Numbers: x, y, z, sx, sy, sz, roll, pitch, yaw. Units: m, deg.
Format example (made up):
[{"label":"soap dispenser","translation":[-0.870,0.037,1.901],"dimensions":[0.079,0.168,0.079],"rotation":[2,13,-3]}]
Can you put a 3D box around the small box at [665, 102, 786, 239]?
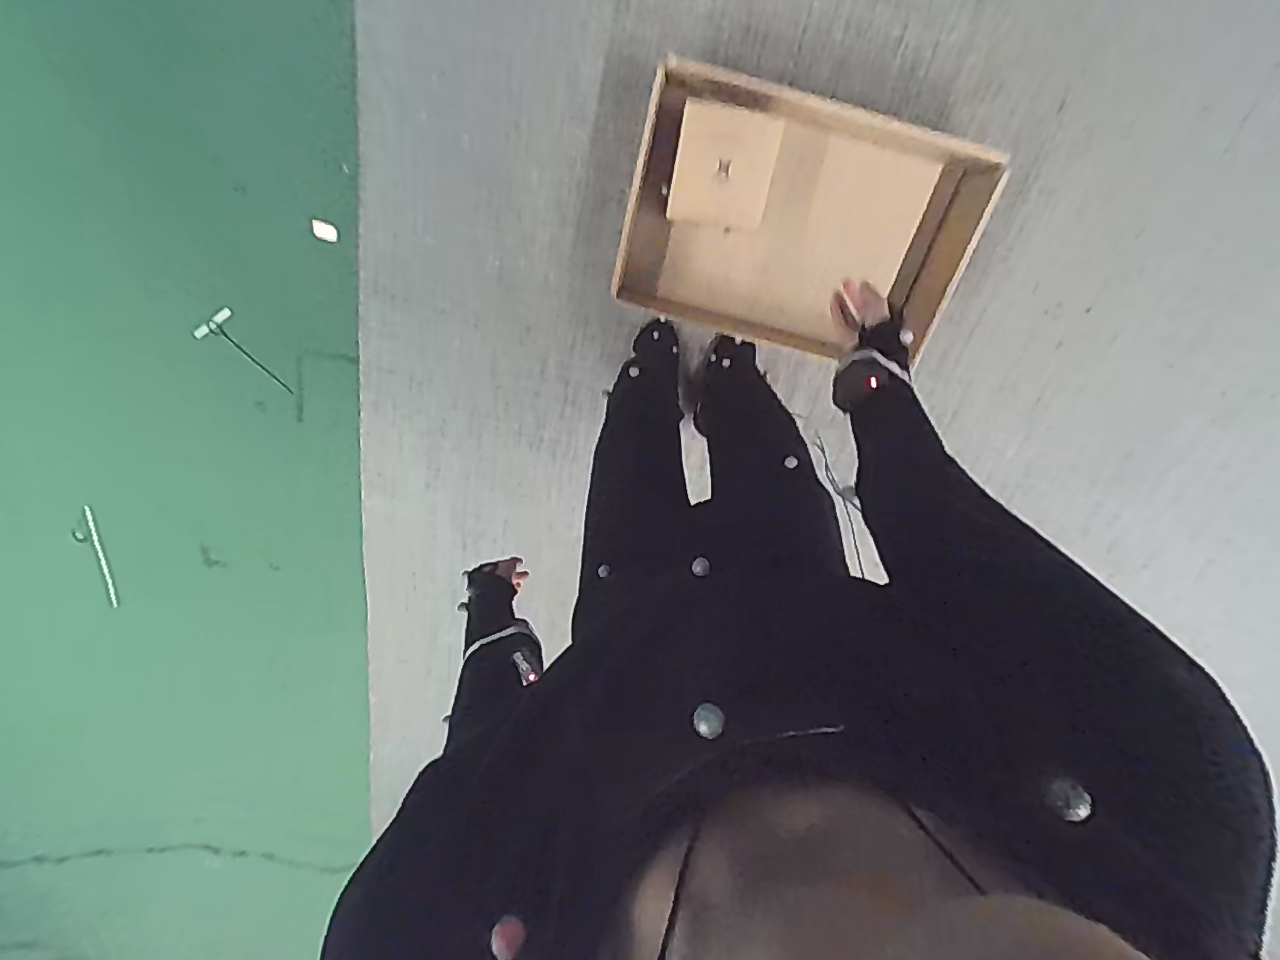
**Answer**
[{"label":"small box","translation":[0.145,-0.547,0.974],"dimensions":[0.168,0.176,0.179],"rotation":[11,117,-2]}]
